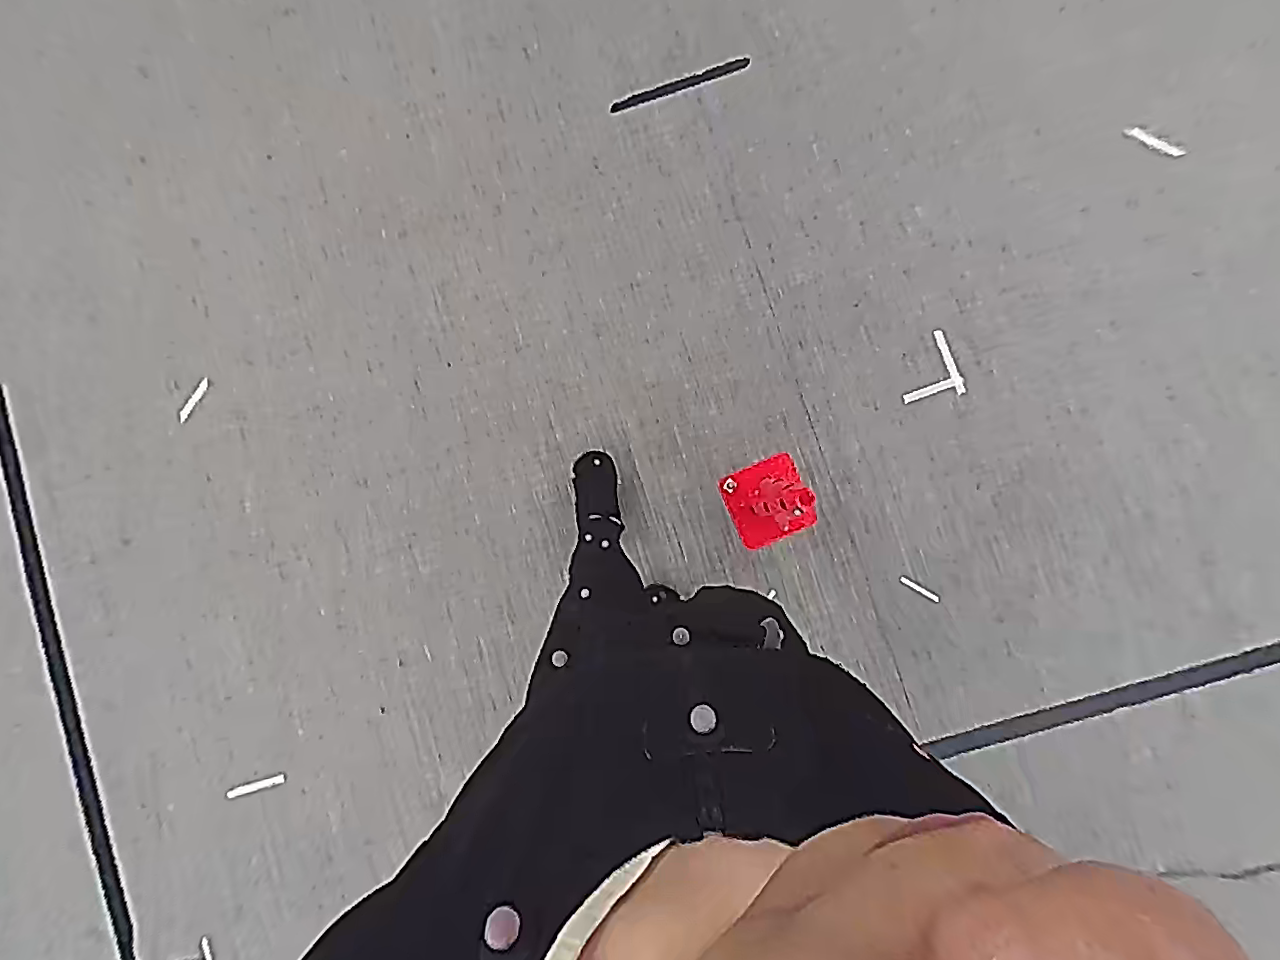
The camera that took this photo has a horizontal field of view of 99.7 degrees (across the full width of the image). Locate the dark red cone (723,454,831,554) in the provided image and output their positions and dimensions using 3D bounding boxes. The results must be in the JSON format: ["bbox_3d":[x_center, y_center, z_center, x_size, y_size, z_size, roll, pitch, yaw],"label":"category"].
[{"bbox_3d":[0.321,0.051,1.156,0.202,0.394,0.201,-25,87,0],"label":"dark red cone"}]
